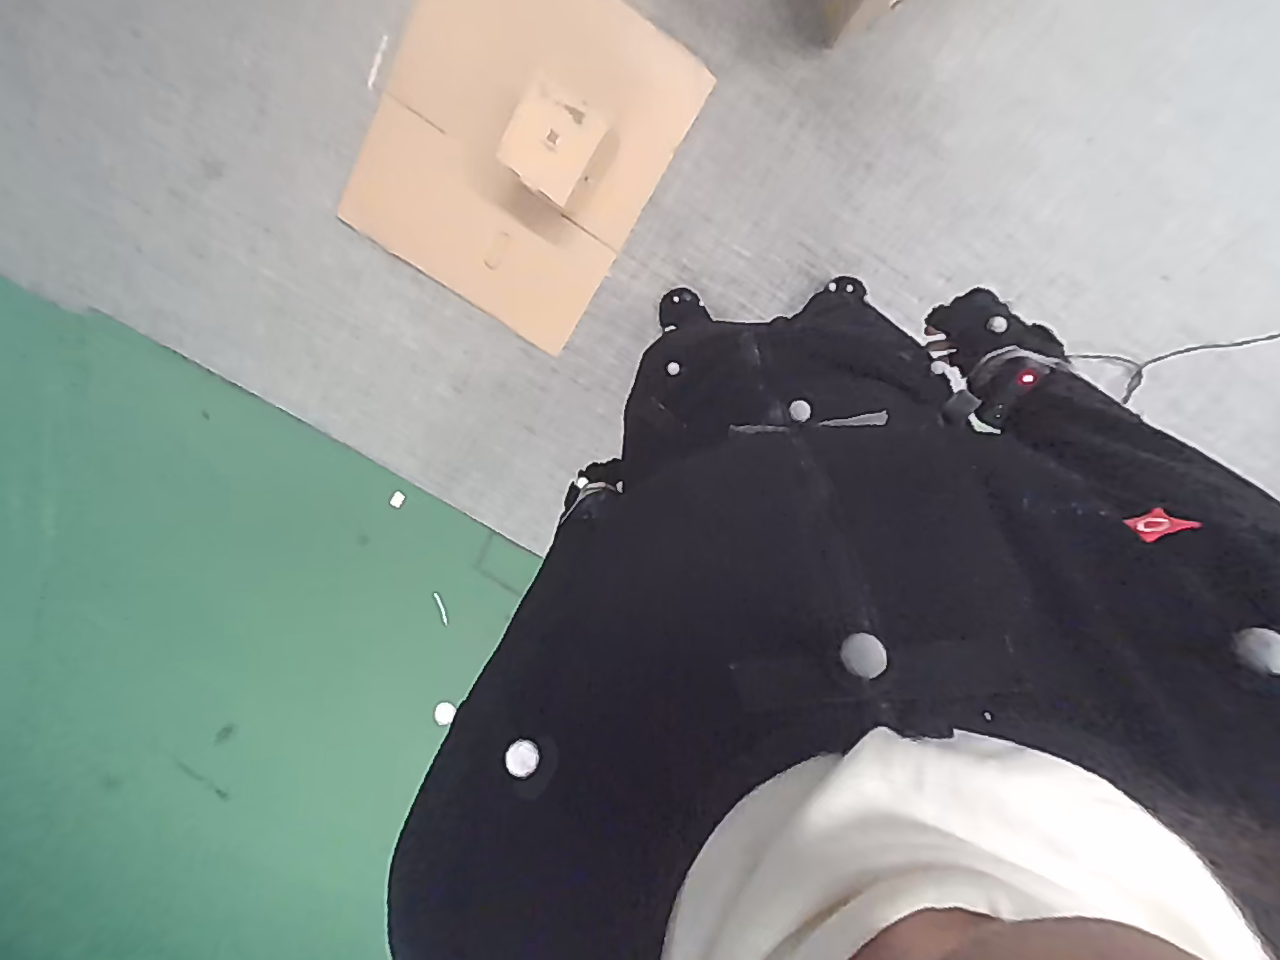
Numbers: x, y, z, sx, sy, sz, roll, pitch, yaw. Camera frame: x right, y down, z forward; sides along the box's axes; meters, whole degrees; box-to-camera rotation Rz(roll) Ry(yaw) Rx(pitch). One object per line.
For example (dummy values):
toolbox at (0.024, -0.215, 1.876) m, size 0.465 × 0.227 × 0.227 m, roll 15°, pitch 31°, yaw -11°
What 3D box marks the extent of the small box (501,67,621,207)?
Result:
small box at (-0.156, -0.696, 1.125) m, size 0.168 × 0.176 × 0.179 m, roll 32°, pitch 112°, yaw -6°
